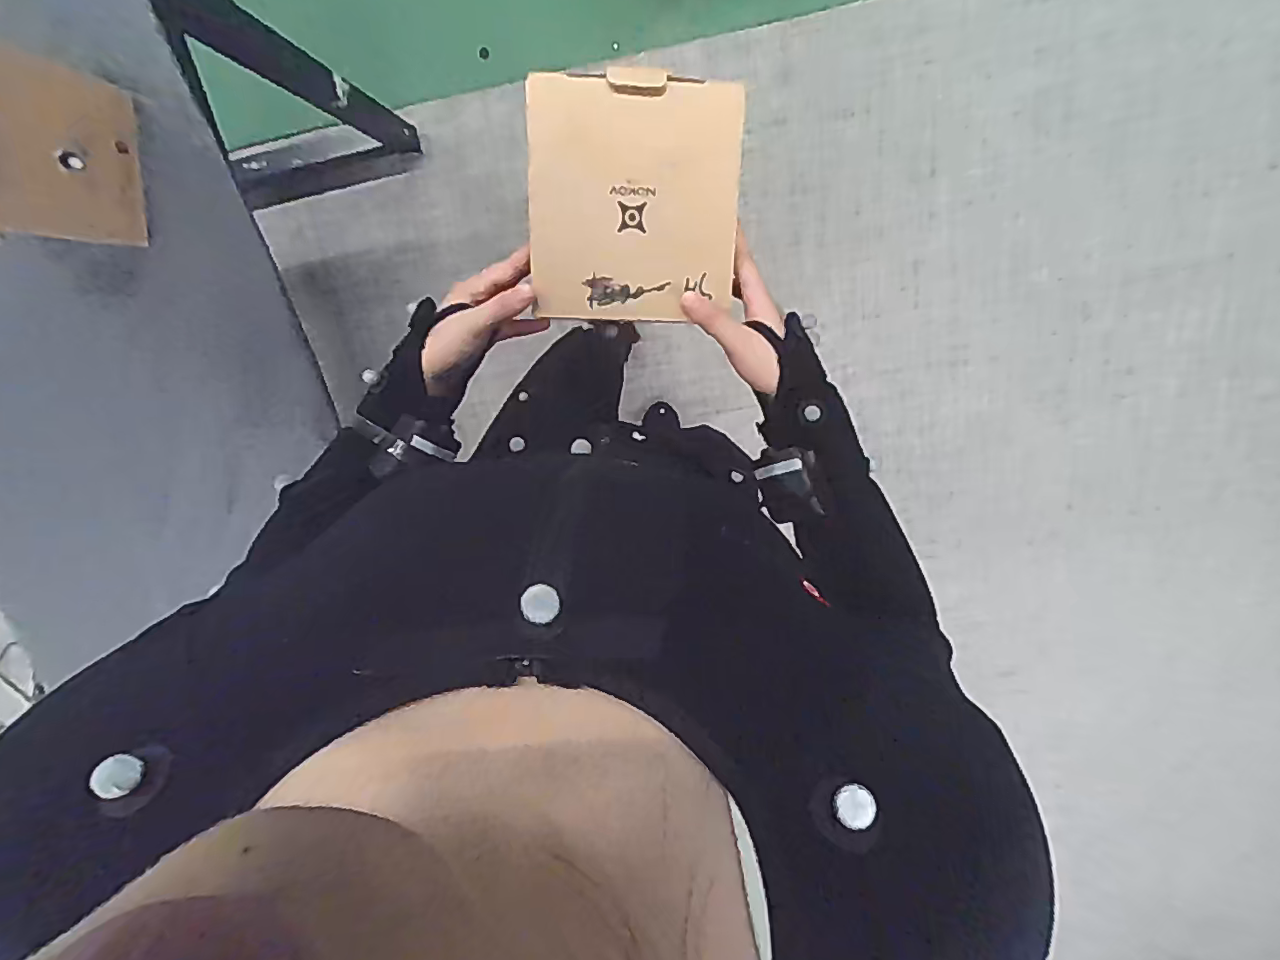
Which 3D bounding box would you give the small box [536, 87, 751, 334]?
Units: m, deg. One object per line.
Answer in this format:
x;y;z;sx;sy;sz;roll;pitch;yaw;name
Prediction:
-0.002;-0.230;0.504;0.168;0.176;0.179;1;107;-1;small box
